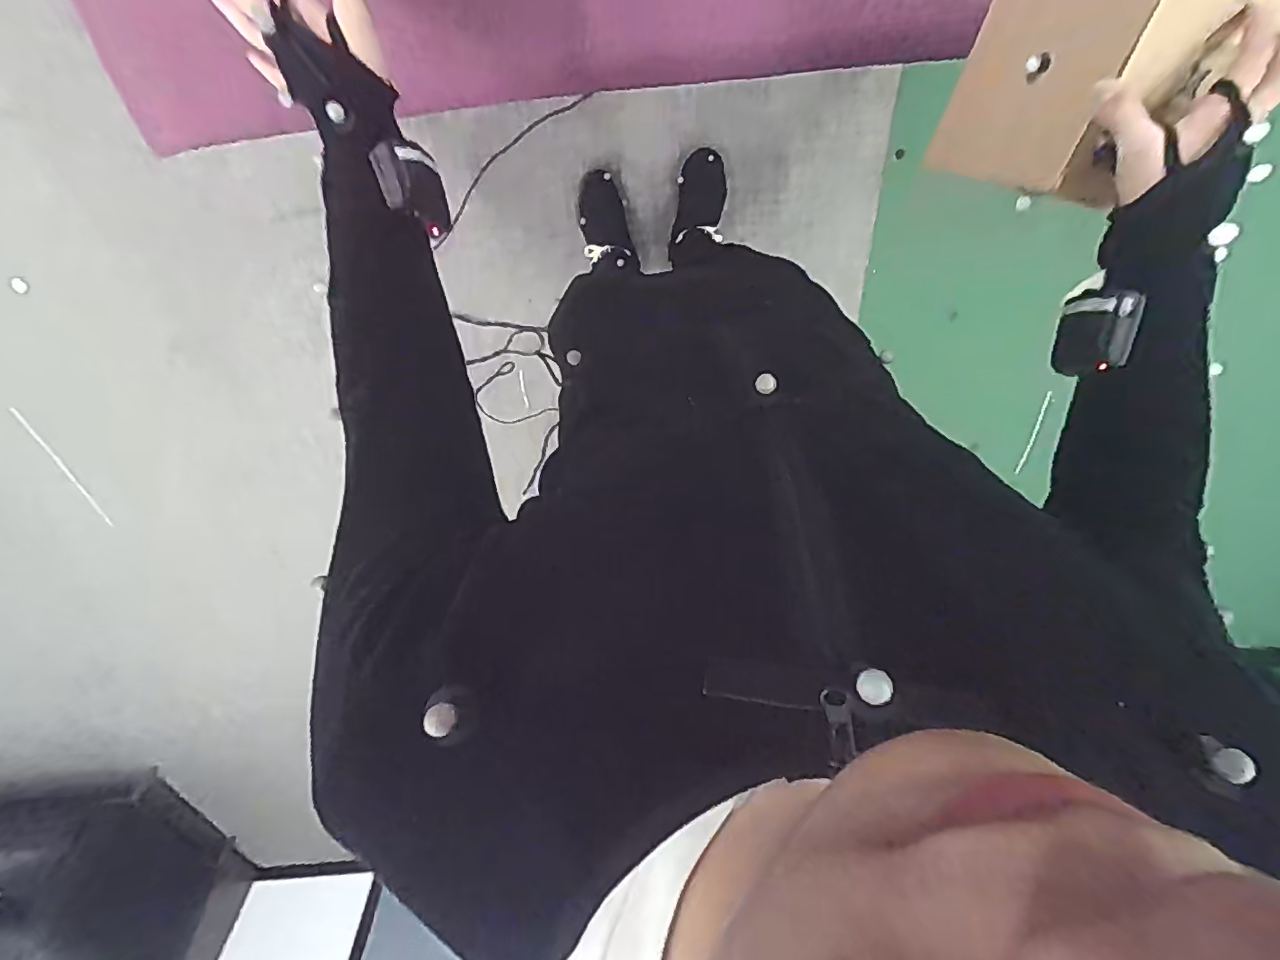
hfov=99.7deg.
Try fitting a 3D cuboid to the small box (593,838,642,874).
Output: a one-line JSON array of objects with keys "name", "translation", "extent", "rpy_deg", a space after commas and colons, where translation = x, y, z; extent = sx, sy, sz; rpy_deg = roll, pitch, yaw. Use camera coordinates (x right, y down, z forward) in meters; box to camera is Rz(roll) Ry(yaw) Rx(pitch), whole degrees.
[{"name": "small box", "translation": [-0.076, 1.267, 1.921], "extent": [0.168, 0.176, 0.179], "rpy_deg": [-2, 123, -1]}]
